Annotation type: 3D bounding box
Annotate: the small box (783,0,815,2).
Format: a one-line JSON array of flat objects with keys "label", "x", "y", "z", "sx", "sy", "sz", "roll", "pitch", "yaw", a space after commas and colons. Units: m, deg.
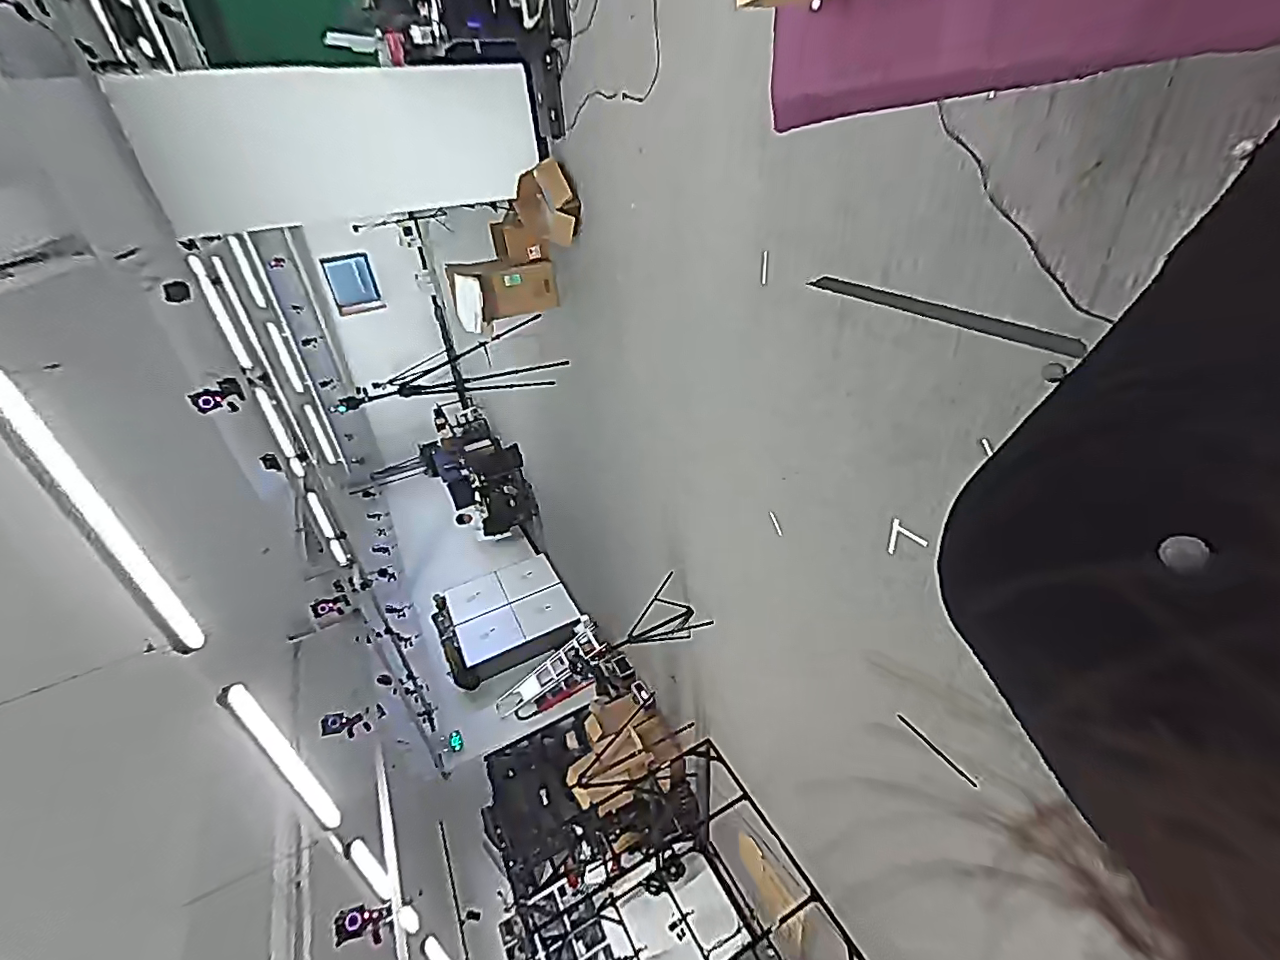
[{"label": "small box", "x": 0.267, "y": -0.897, "z": 0.863, "sx": 0.168, "sy": 0.176, "sz": 0.179, "roll": 41, "pitch": 144, "yaw": 52}]
